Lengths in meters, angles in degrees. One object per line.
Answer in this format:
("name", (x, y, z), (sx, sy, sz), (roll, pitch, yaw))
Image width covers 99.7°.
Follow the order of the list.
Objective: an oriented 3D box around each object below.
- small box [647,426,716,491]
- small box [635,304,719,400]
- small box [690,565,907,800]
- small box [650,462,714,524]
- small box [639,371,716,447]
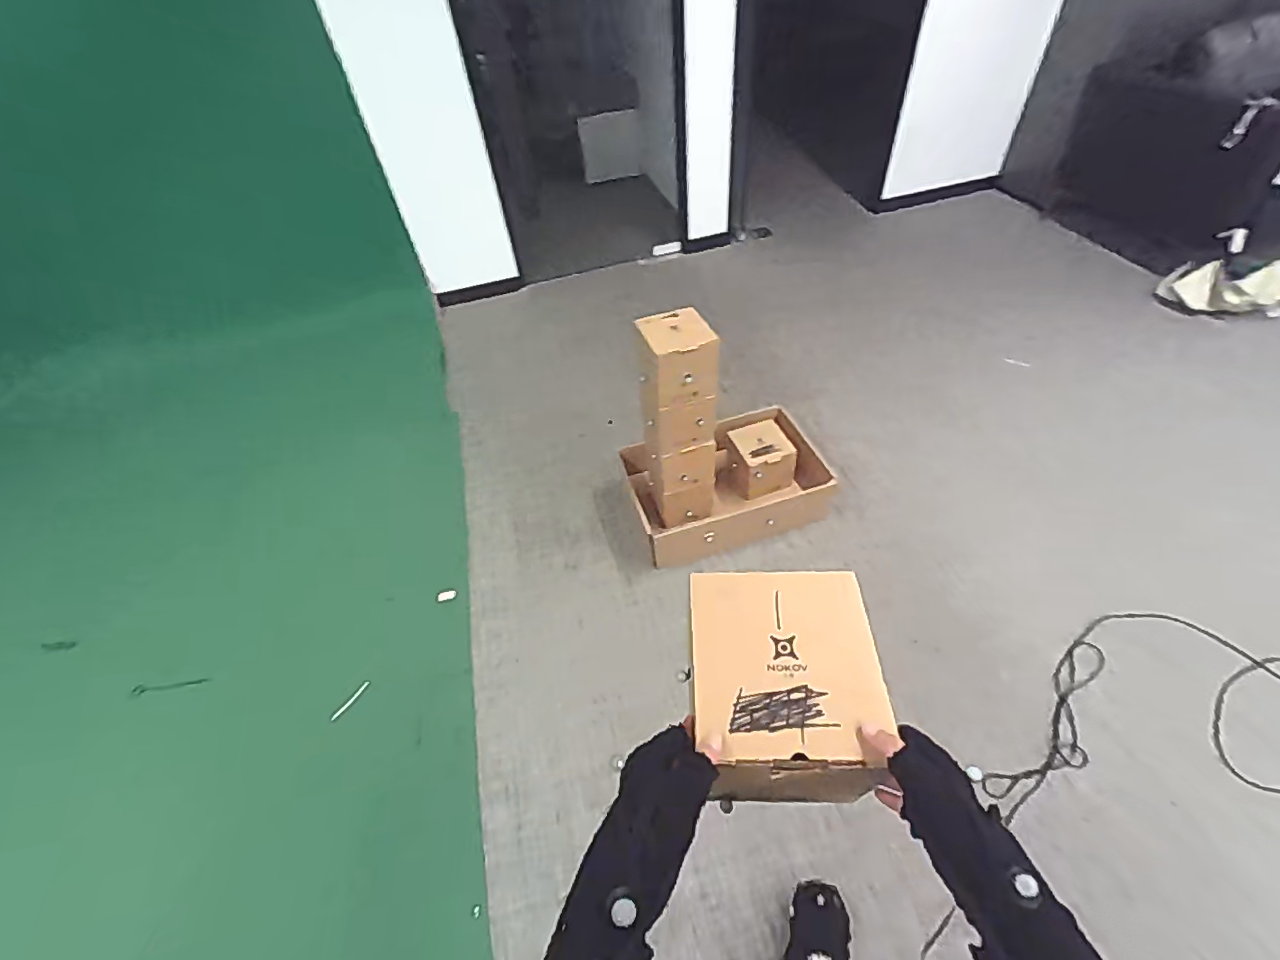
("small box", (0.119, -0.097, 1.636), (0.168, 0.176, 0.179), (-15, 48, -9))
("small box", (0.093, -0.324, 1.402), (0.168, 0.176, 0.179), (-15, 49, -11))
("small box", (0.138, 0.205, 0.539), (0.168, 0.176, 0.179), (3, 52, 4))
("small box", (0.131, 0.014, 1.754), (0.168, 0.176, 0.179), (-14, 48, -7))
("small box", (0.104, -0.210, 1.520), (0.168, 0.176, 0.179), (-16, 48, -10))
